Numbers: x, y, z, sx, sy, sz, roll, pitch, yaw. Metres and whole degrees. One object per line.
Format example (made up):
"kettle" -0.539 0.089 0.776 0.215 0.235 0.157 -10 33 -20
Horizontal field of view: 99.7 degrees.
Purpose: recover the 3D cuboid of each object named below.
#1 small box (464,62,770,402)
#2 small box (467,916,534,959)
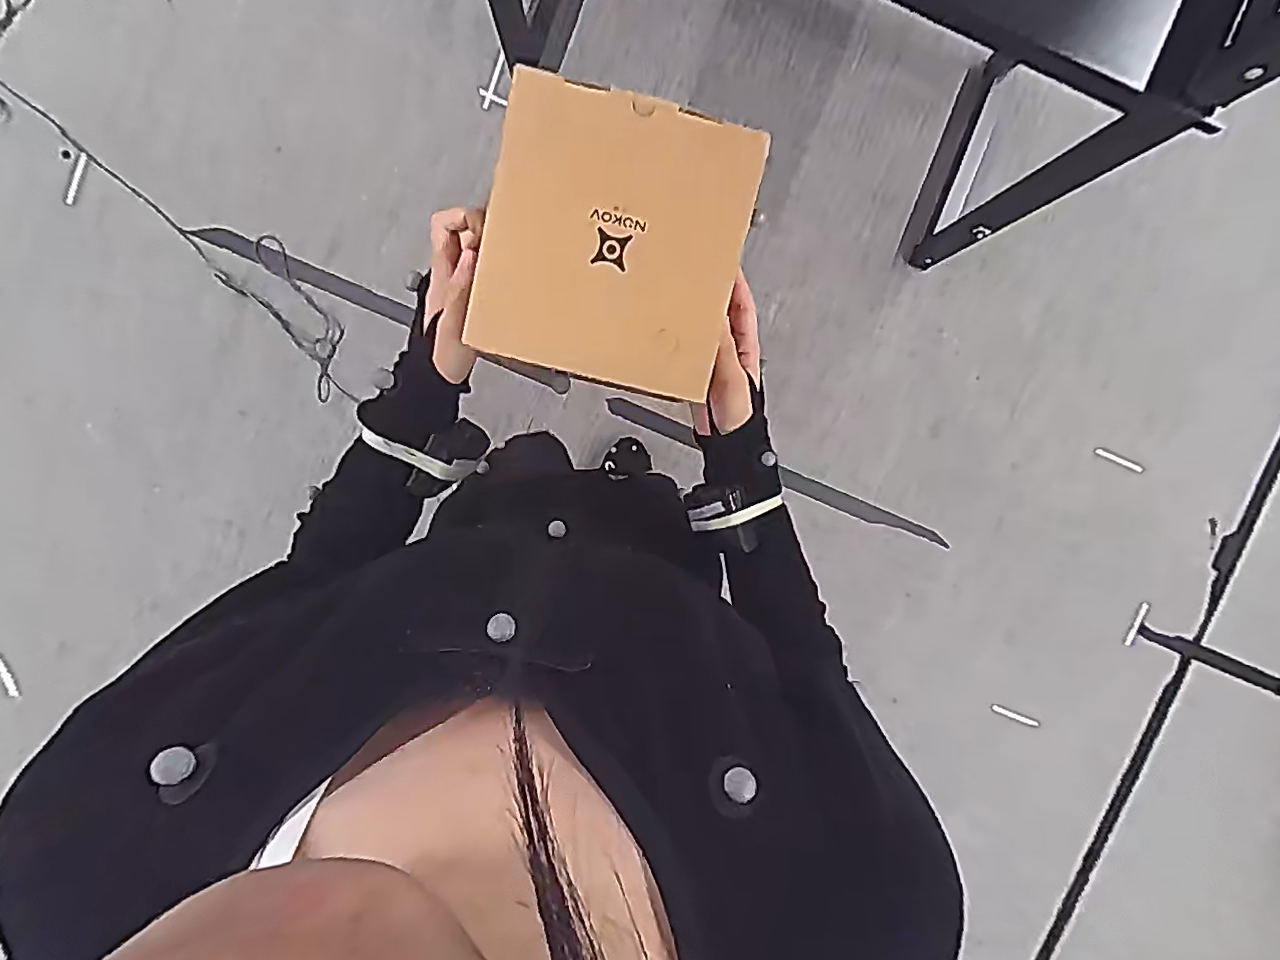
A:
"small box" -0.019 -0.163 0.422 0.168 0.176 0.179 13 96 -4
"small box" -0.401 1.376 1.519 0.179 0.176 0.168 9 94 -5
